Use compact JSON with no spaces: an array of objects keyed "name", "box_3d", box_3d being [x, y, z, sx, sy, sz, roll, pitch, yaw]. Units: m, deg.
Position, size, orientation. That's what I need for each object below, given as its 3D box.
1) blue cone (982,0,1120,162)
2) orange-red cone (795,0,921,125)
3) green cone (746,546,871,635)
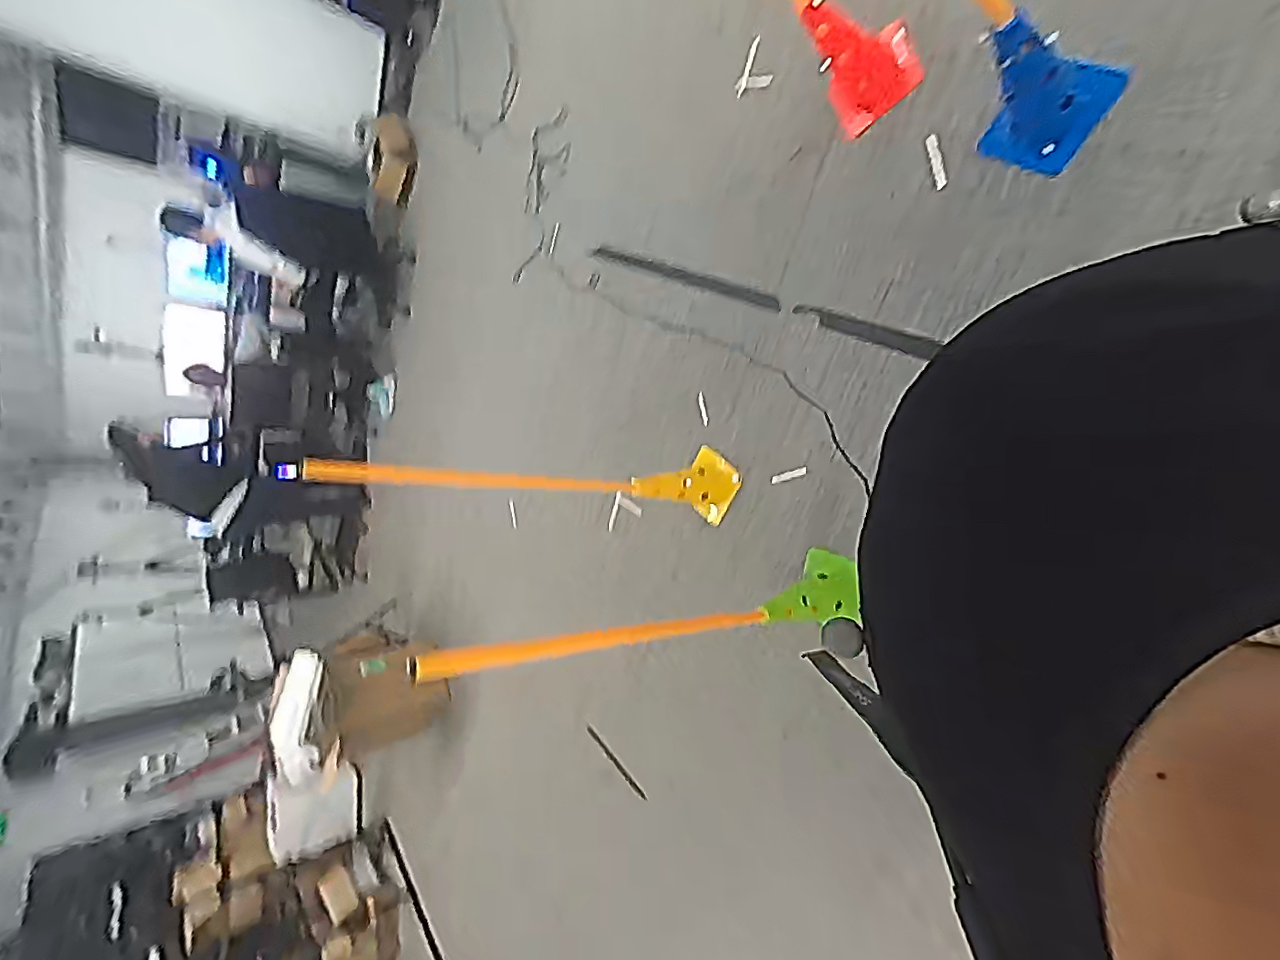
[{"name":"blue cone","box_3d":[0.730,-0.779,1.017,0.192,0.380,0.193,52,126,34]},{"name":"orange-red cone","box_3d":[0.473,-1.042,1.266,0.198,0.360,0.199,-26,73,45]},{"name":"green cone","box_3d":[0.397,0.300,1.365,0.202,0.368,0.200,18,104,47]}]
